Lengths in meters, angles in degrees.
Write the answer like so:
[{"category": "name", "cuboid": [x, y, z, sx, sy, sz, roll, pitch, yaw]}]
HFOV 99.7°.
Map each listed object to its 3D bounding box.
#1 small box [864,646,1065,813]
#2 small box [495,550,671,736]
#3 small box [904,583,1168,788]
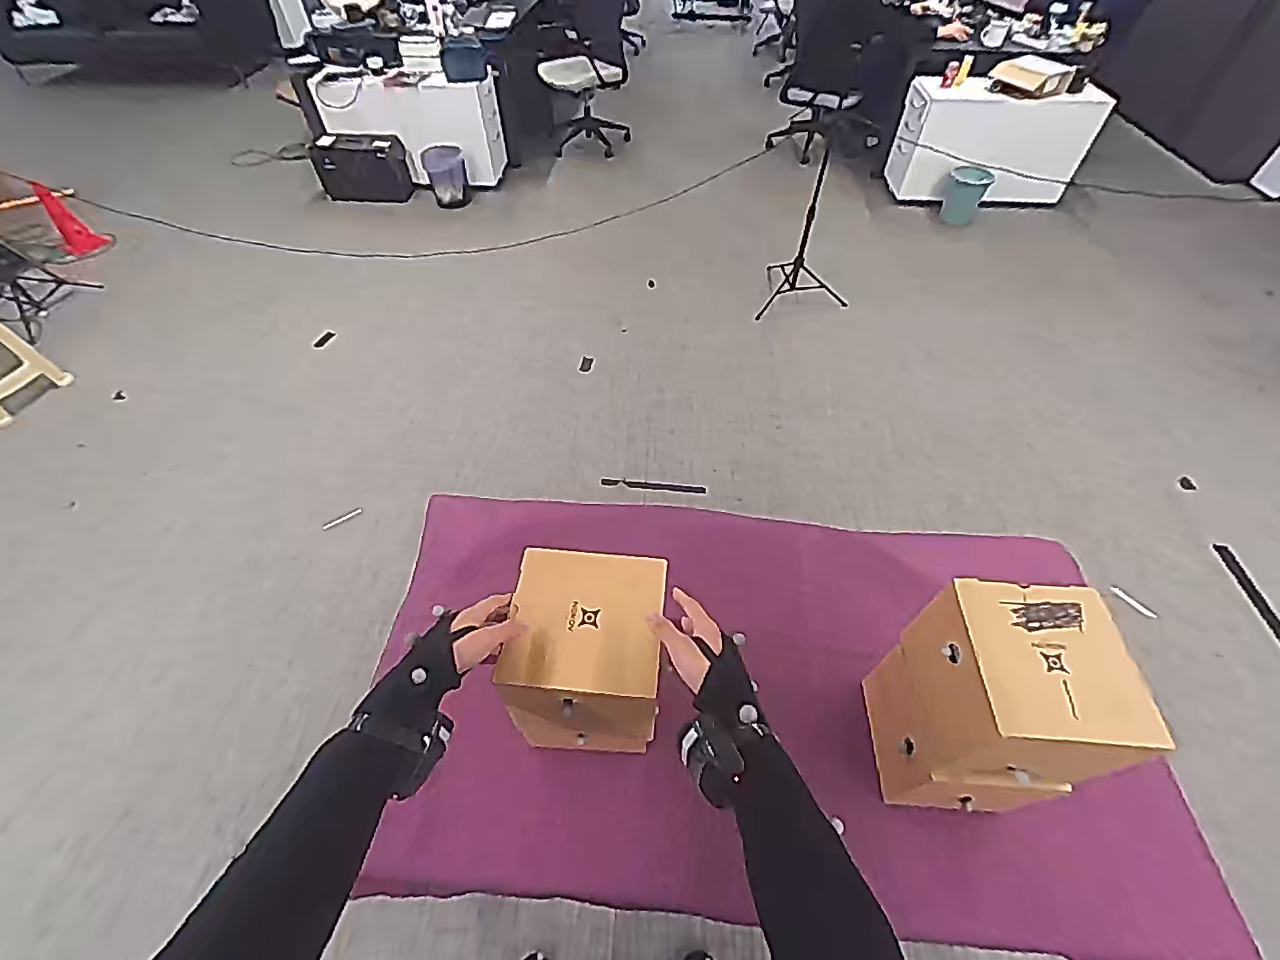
[{"category": "small box", "cuboid": [0.435, 0.355, 0.763, 0.168, 0.176, 0.179, 4, 51, 3]}, {"category": "small box", "cuboid": [-0.058, 0.207, 0.670, 0.179, 0.176, 0.168, 4, 51, 4]}, {"category": "small box", "cuboid": [0.437, 0.244, 0.641, 0.168, 0.176, 0.179, 4, 52, 3]}]
